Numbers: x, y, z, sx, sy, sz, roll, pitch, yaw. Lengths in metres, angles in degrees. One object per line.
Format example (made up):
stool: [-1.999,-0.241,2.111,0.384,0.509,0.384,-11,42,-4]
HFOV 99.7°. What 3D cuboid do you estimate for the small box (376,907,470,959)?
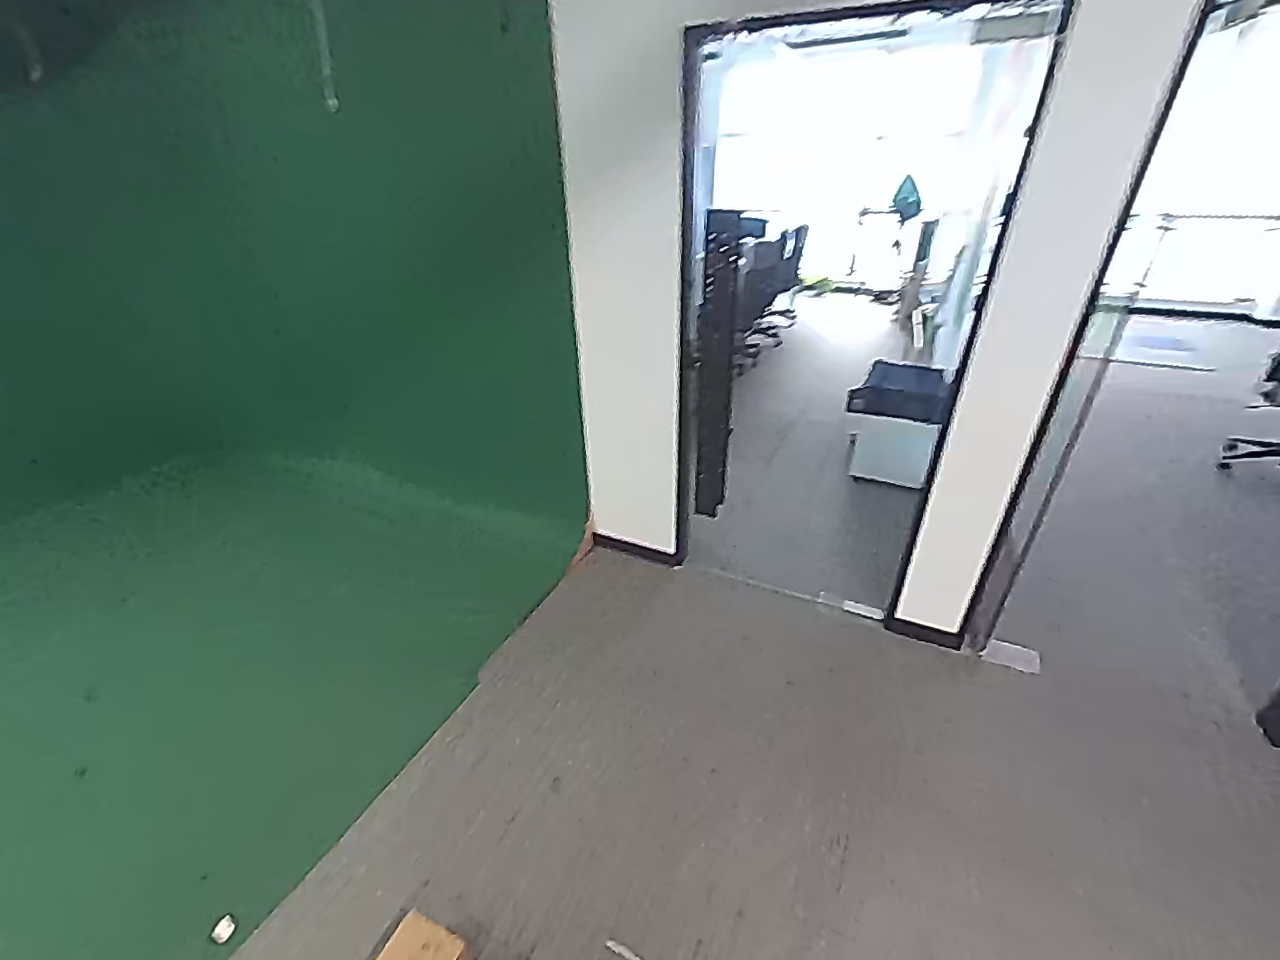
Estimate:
small box: [-0.502,1.143,1.231,0.168,0.176,0.179,13,33,23]
